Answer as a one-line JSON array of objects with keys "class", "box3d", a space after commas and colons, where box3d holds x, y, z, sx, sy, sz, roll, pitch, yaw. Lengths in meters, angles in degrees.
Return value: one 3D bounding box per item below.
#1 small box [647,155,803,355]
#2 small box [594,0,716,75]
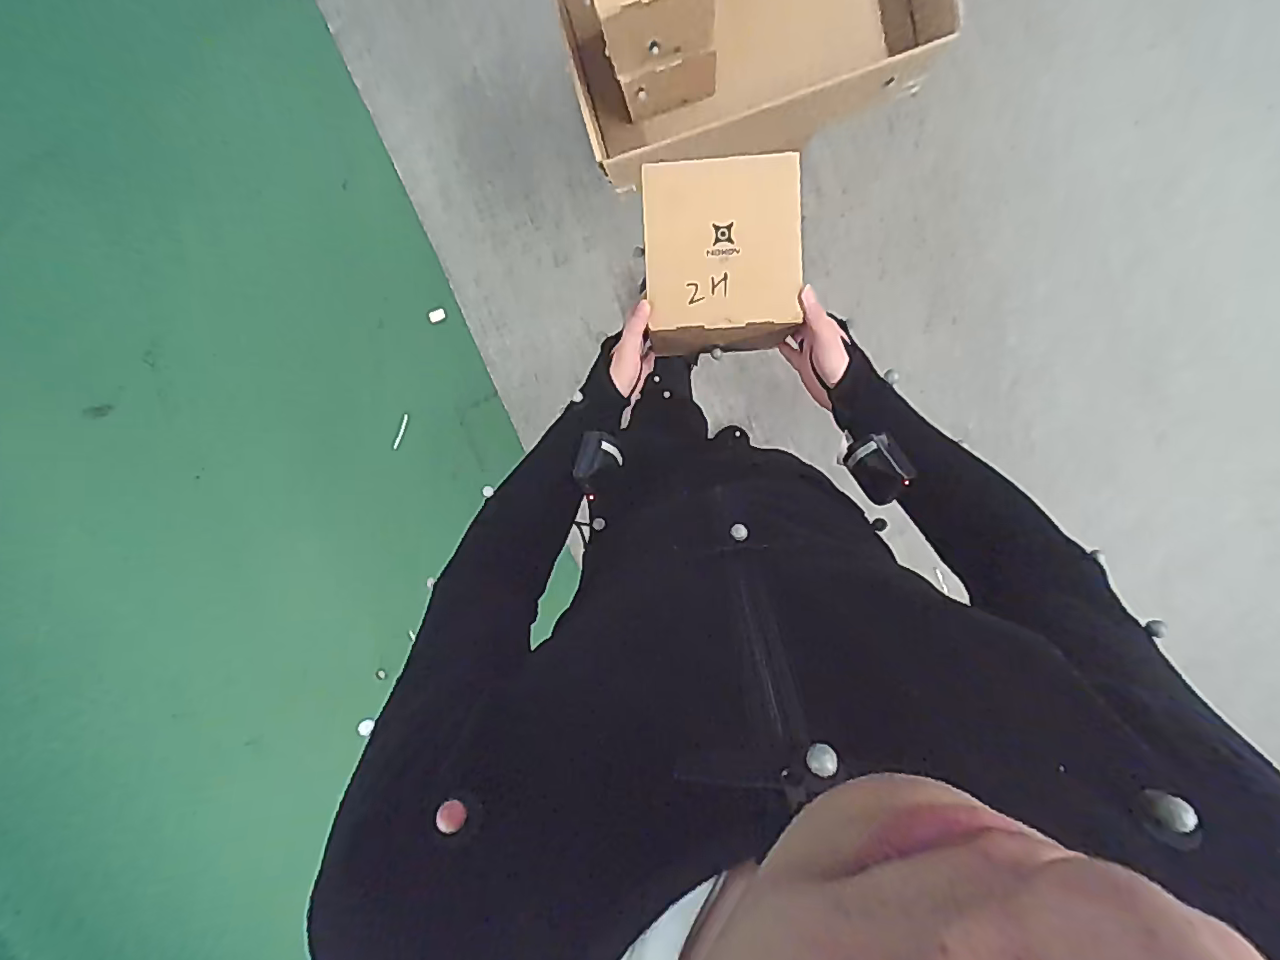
[{"class": "small box", "box3d": [0.093, -0.254, 0.648, 0.168, 0.176, 0.179, -2, 94, 4]}, {"class": "small box", "box3d": [0.009, -0.734, 0.771, 0.168, 0.176, 0.179, -13, 102, 8]}]
